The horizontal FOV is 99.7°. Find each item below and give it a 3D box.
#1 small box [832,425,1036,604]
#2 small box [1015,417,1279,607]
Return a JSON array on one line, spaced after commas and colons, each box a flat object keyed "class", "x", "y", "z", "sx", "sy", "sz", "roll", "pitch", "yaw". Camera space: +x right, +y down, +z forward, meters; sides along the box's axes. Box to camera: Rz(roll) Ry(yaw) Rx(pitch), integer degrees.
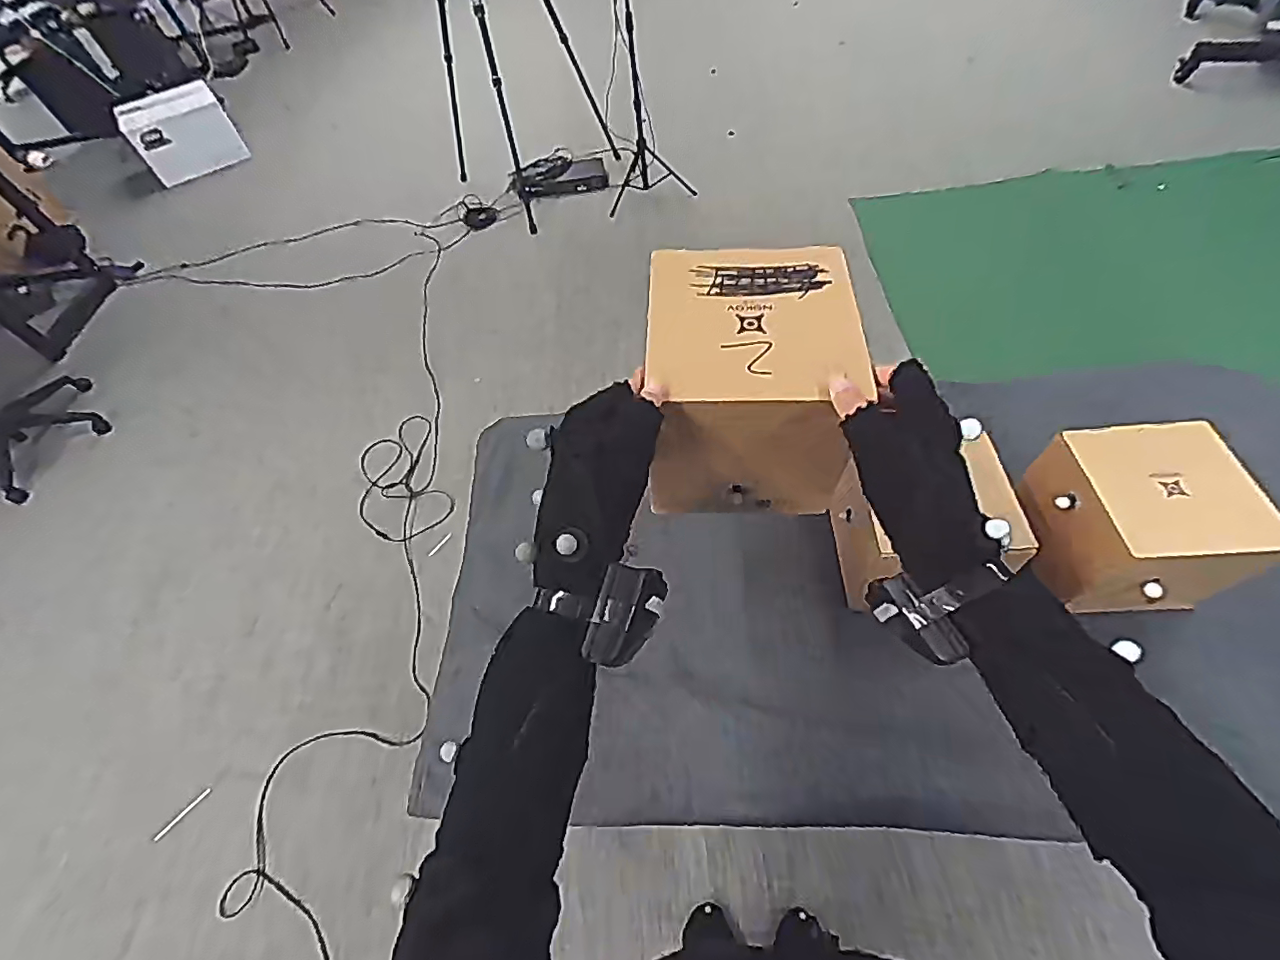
[{"class": "small box", "x": 0.355, "y": 0.052, "z": 0.695, "sx": 0.168, "sy": 0.176, "sz": 0.179, "roll": -2, "pitch": 55, "yaw": 6}, {"class": "small box", "x": 0.601, "y": 0.048, "z": 0.664, "sx": 0.168, "sy": 0.176, "sz": 0.179, "roll": -4, "pitch": 55, "yaw": 5}]
